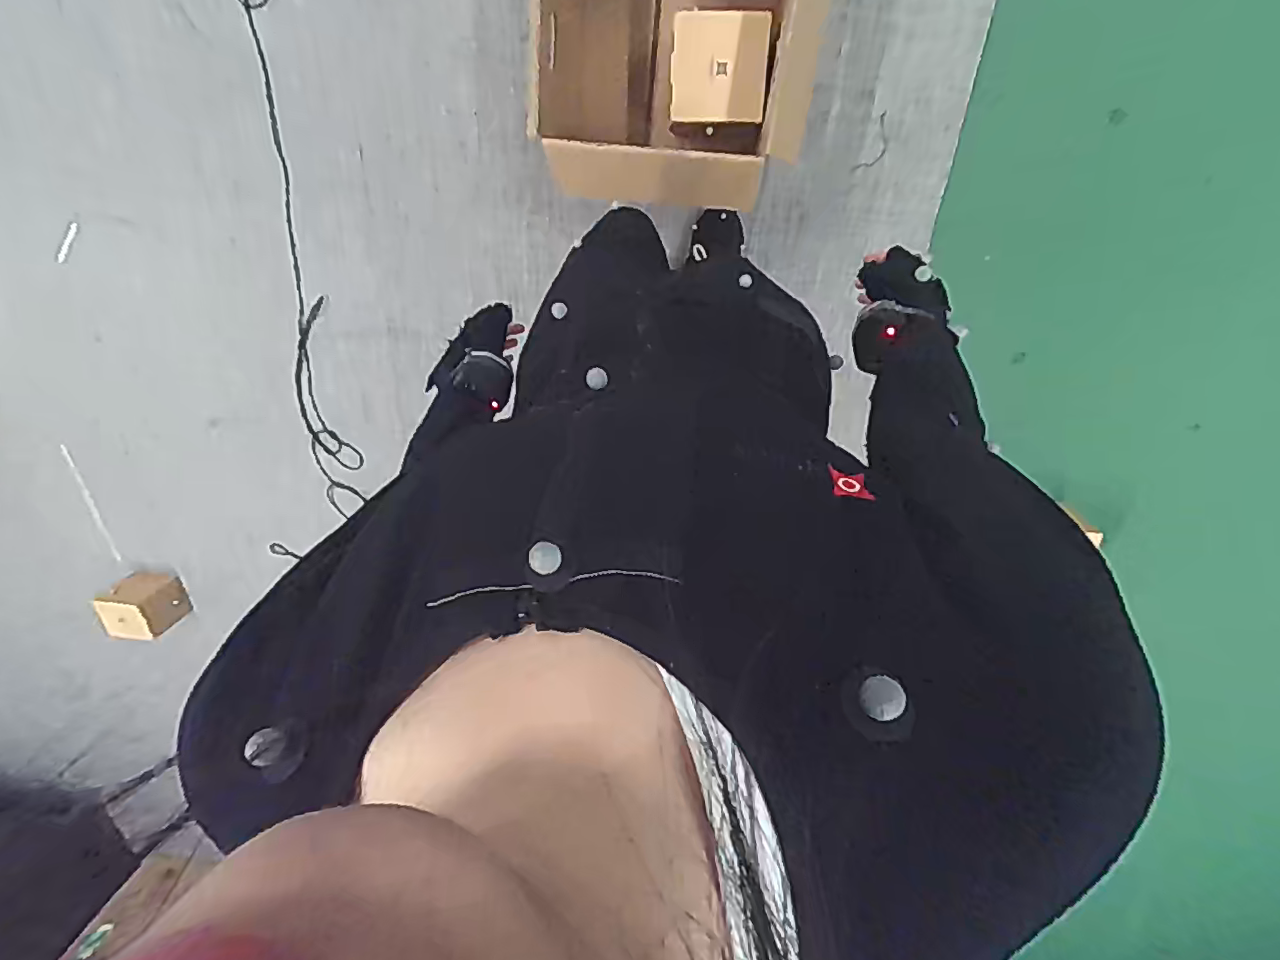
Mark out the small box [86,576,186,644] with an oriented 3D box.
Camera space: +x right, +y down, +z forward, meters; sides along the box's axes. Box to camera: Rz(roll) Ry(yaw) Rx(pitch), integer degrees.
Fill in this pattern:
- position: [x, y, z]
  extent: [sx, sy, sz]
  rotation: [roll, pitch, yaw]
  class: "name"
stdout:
- position: [-1.798, 0.461, 1.938]
  extent: [0.179, 0.176, 0.168]
  rotation: [4, 118, 4]
  class: "small box"
